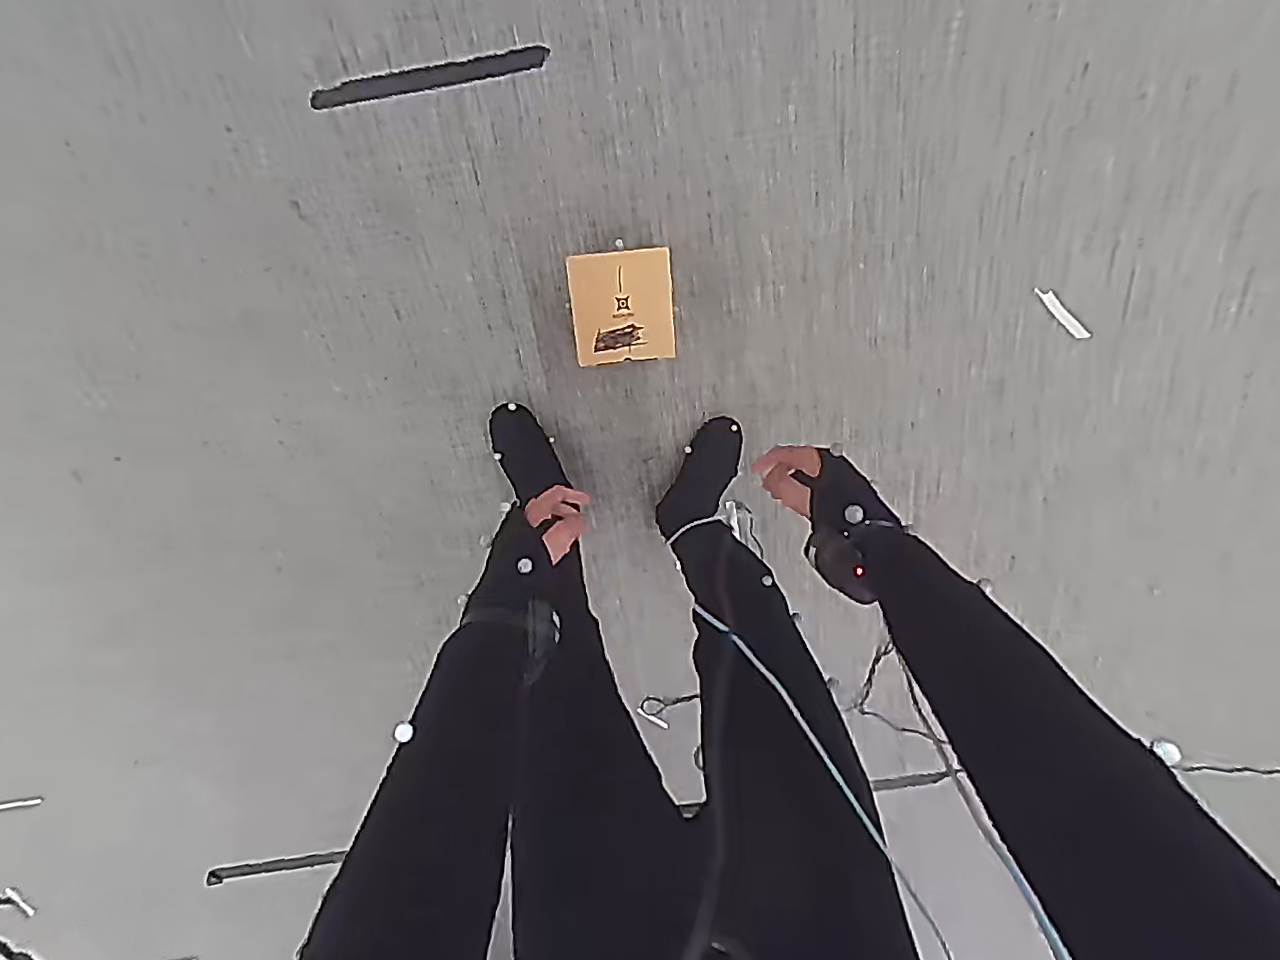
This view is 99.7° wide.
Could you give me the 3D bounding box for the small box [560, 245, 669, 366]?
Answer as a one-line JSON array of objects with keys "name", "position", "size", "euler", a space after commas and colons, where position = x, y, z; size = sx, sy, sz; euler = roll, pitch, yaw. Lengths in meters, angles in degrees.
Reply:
[{"name": "small box", "position": [-0.041, -0.308, 0.940], "size": [0.168, 0.176, 0.179], "euler": [-6, 113, -1]}]
